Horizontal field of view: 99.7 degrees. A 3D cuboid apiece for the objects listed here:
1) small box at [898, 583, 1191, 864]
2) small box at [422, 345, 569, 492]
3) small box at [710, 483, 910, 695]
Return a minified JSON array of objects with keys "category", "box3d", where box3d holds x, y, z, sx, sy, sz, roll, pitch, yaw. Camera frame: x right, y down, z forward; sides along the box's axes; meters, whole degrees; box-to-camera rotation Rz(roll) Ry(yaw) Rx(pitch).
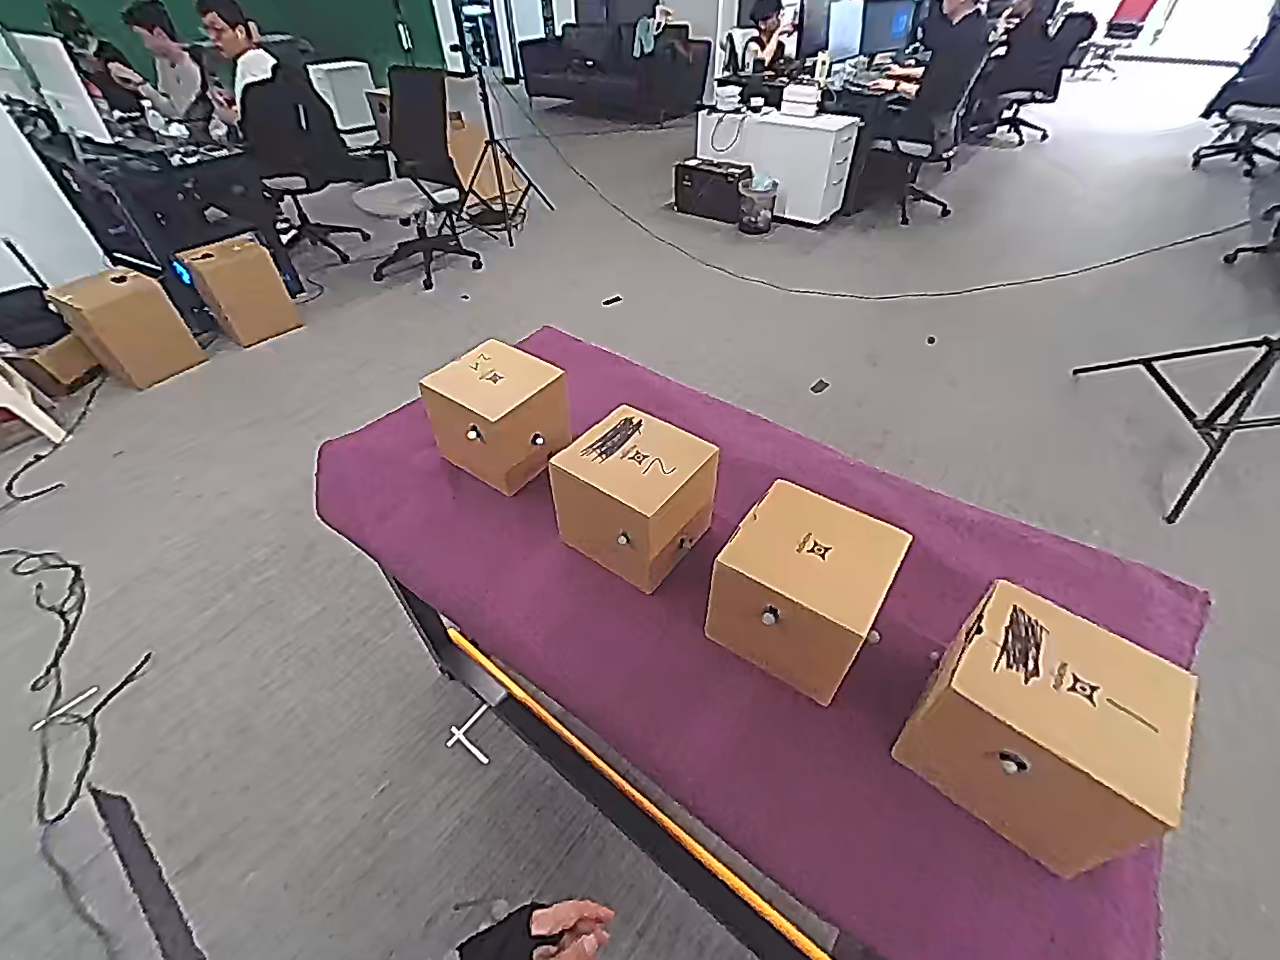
[{"category":"small box","box3d":[0.399,0.248,0.557,0.179,0.176,0.168,31,51,29]},{"category":"small box","box3d":[-0.240,-0.103,0.943,0.179,0.176,0.168,27,50,24]},{"category":"small box","box3d":[0.204,0.140,0.682,0.179,0.176,0.168,25,50,26]}]
